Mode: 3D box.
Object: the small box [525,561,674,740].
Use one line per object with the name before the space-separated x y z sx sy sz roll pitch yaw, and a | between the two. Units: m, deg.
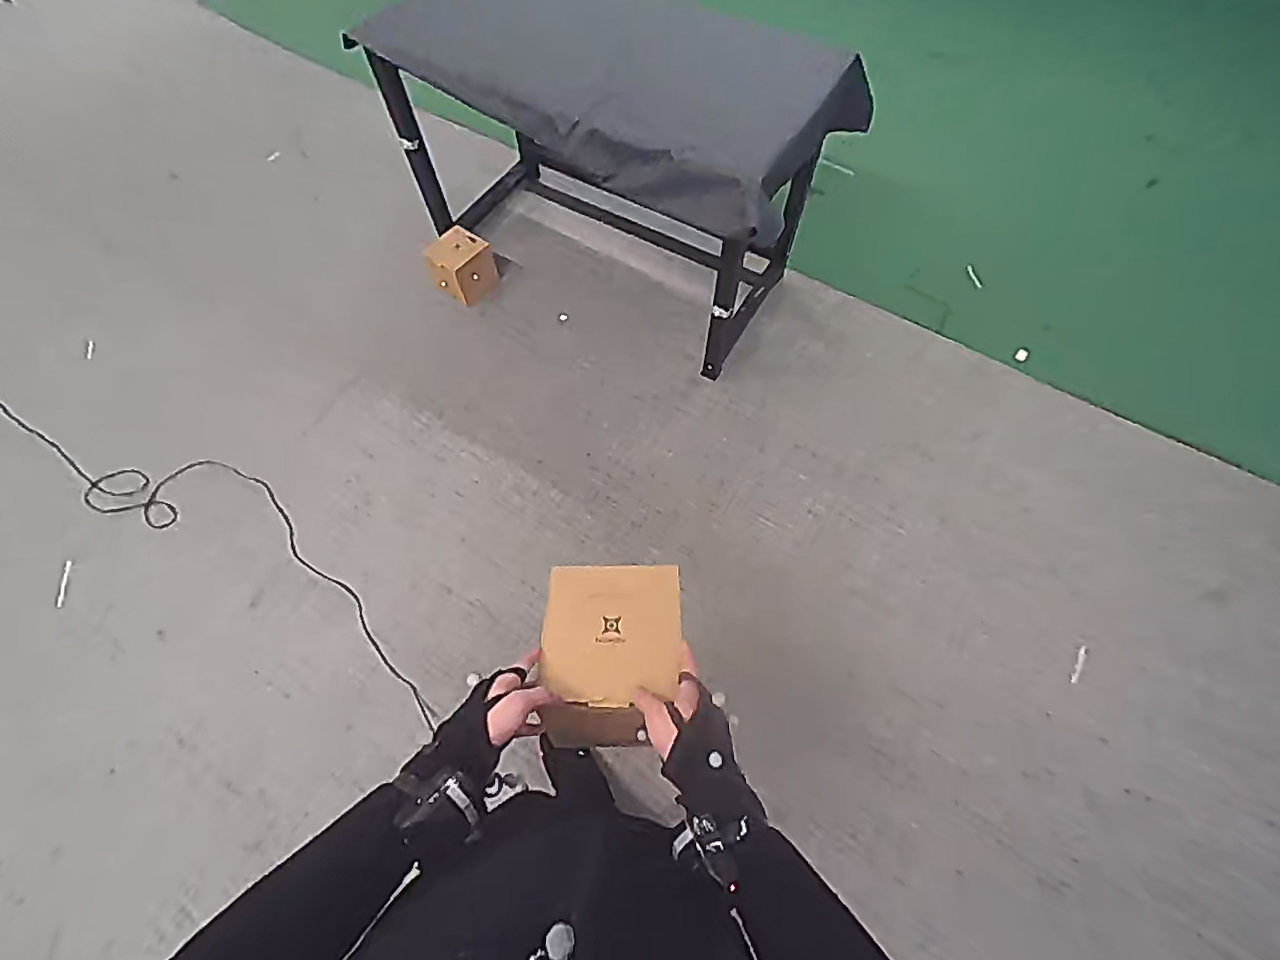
small box | -0.039 0.223 0.696 0.168 0.176 0.179 -1 48 2
